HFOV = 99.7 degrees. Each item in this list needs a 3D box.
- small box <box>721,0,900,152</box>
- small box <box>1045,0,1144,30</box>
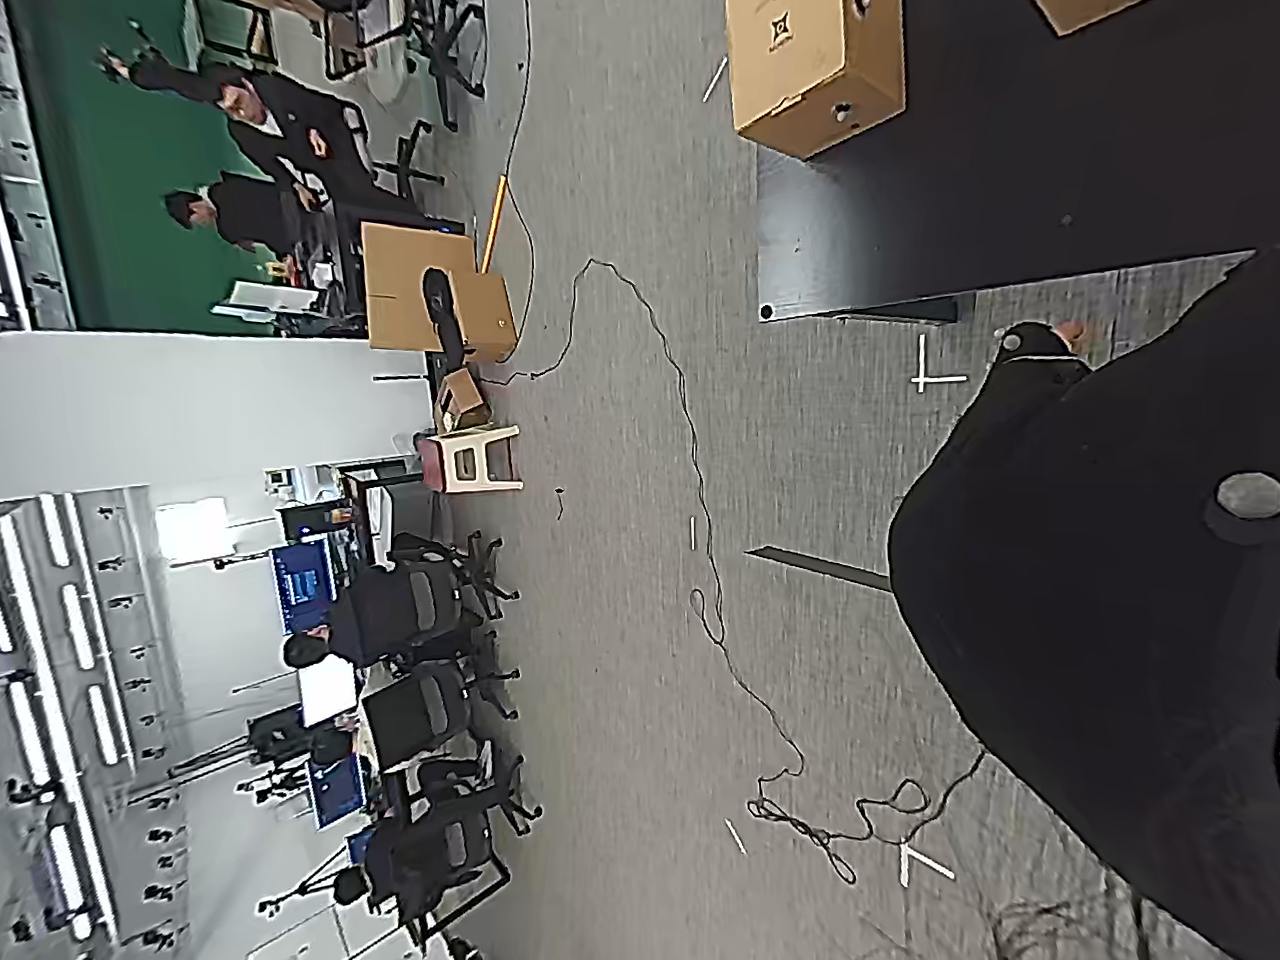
[{"bbox_3d":[0.230,-0.567,0.720,0.168,0.176,0.179,2,99,48],"label":"small box"},{"bbox_3d":[0.446,-0.552,0.468,0.168,0.176,0.179,6,104,49],"label":"small box"}]
